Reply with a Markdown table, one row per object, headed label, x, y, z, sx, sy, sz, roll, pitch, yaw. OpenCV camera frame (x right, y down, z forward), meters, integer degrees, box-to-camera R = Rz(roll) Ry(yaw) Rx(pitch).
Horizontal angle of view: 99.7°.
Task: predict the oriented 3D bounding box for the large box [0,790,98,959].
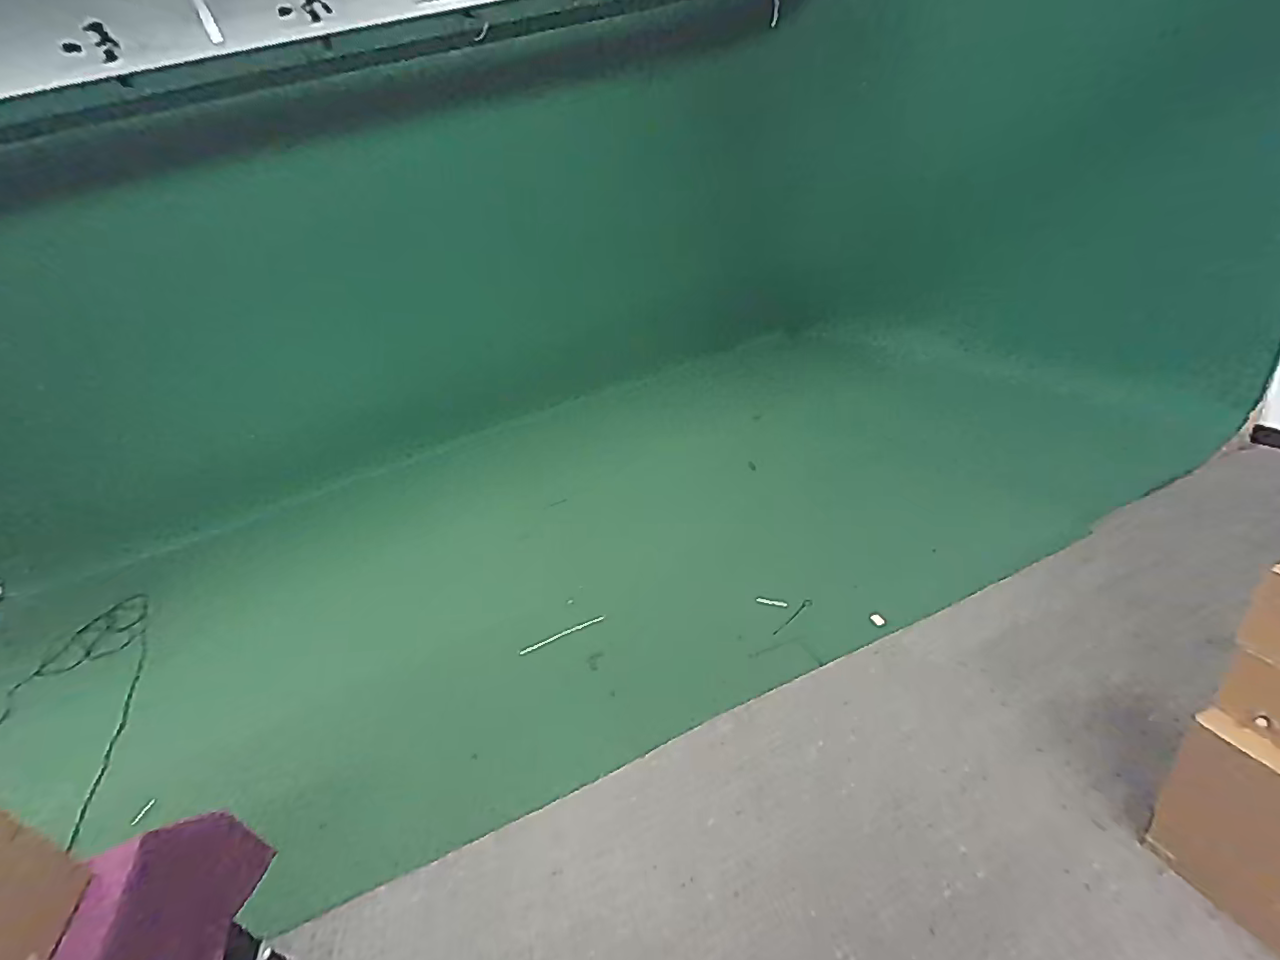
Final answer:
| label | x | y | z | sx | sy | sz | roll | pitch | yaw |
| --- | --- | --- | --- | --- | --- | --- | --- | --- | --- |
| large box | -1.100 | 0.673 | 0.702 | 0.408 | 0.320 | 0.320 | -21 | 30 | -12 |
